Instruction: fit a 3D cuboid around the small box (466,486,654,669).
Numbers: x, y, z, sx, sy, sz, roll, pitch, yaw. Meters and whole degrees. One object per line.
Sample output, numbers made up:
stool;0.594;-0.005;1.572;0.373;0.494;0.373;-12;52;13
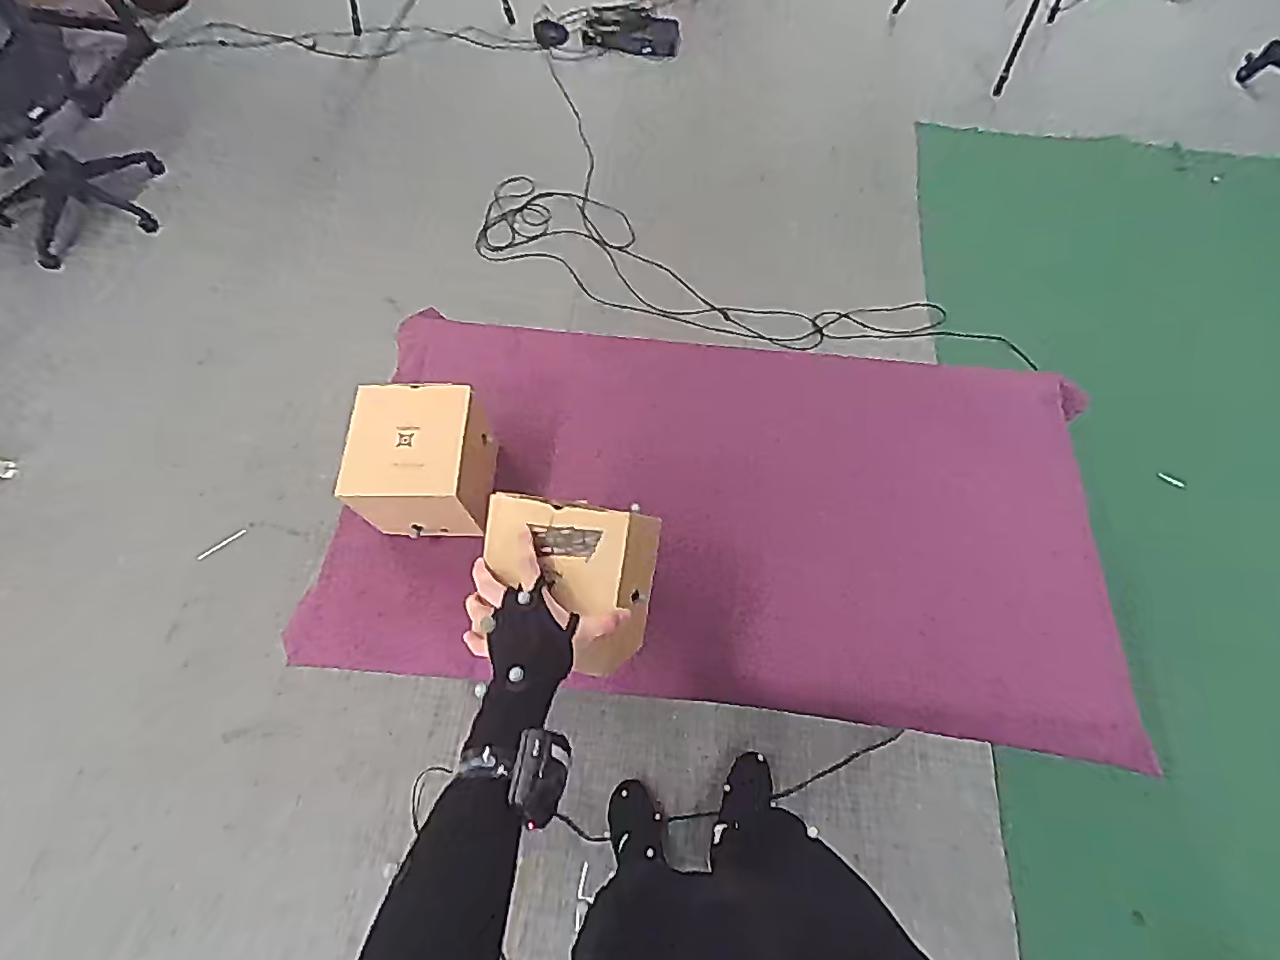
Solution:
small box;-0.086;0.110;0.670;0.168;0.176;0.179;8;88;16

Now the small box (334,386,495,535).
small box;-0.331;-0.026;0.837;0.168;0.176;0.179;0;65;1
